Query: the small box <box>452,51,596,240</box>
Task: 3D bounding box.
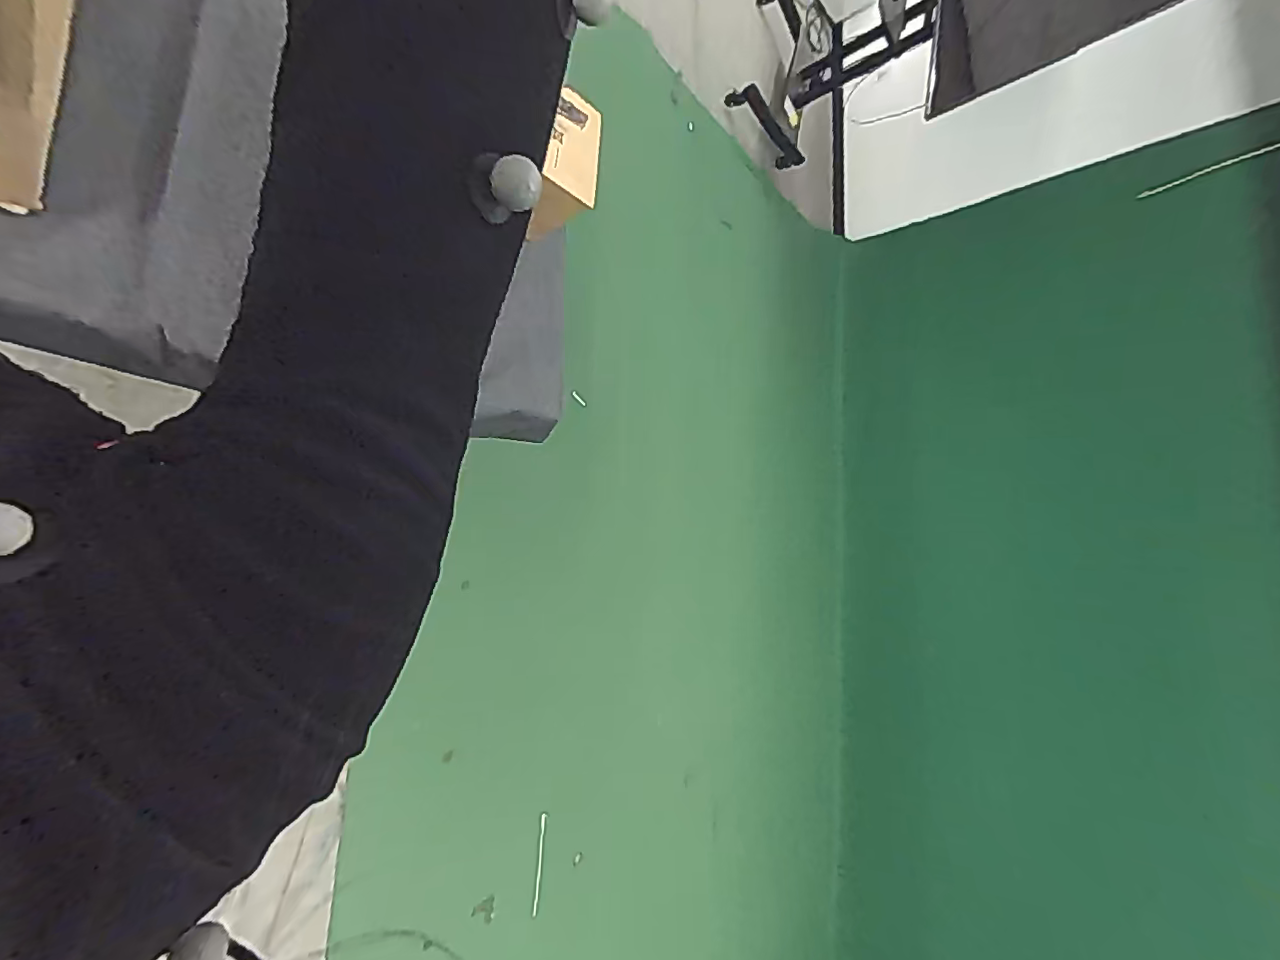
[{"bbox_3d":[-0.193,-0.538,0.899,0.168,0.176,0.179,12,79,-47],"label":"small box"}]
